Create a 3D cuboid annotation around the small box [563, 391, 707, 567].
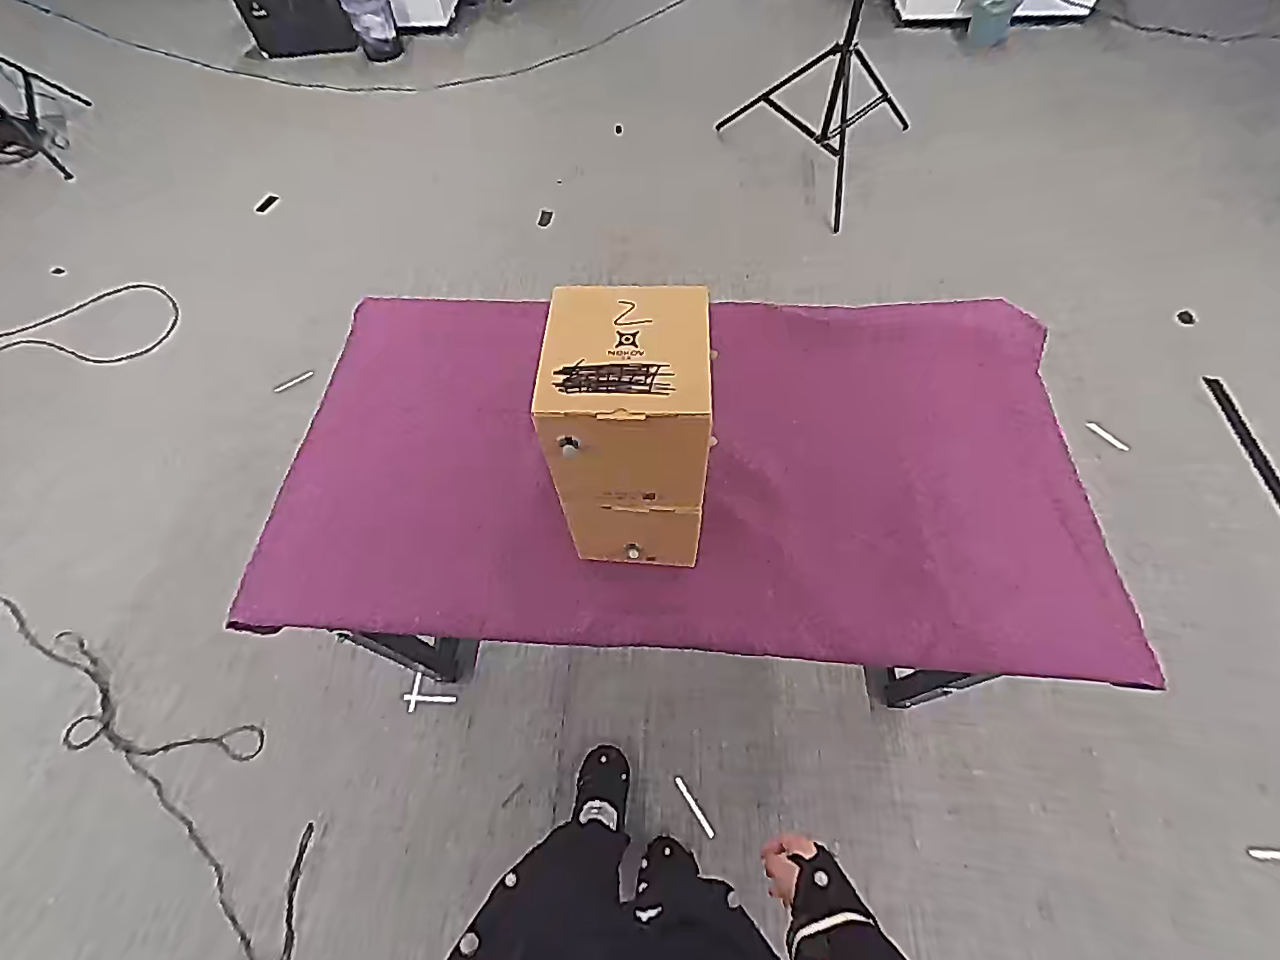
[{"bbox_3d":[0.000,0.002,0.740,0.168,0.176,0.179,4,60,5],"label":"small box"}]
